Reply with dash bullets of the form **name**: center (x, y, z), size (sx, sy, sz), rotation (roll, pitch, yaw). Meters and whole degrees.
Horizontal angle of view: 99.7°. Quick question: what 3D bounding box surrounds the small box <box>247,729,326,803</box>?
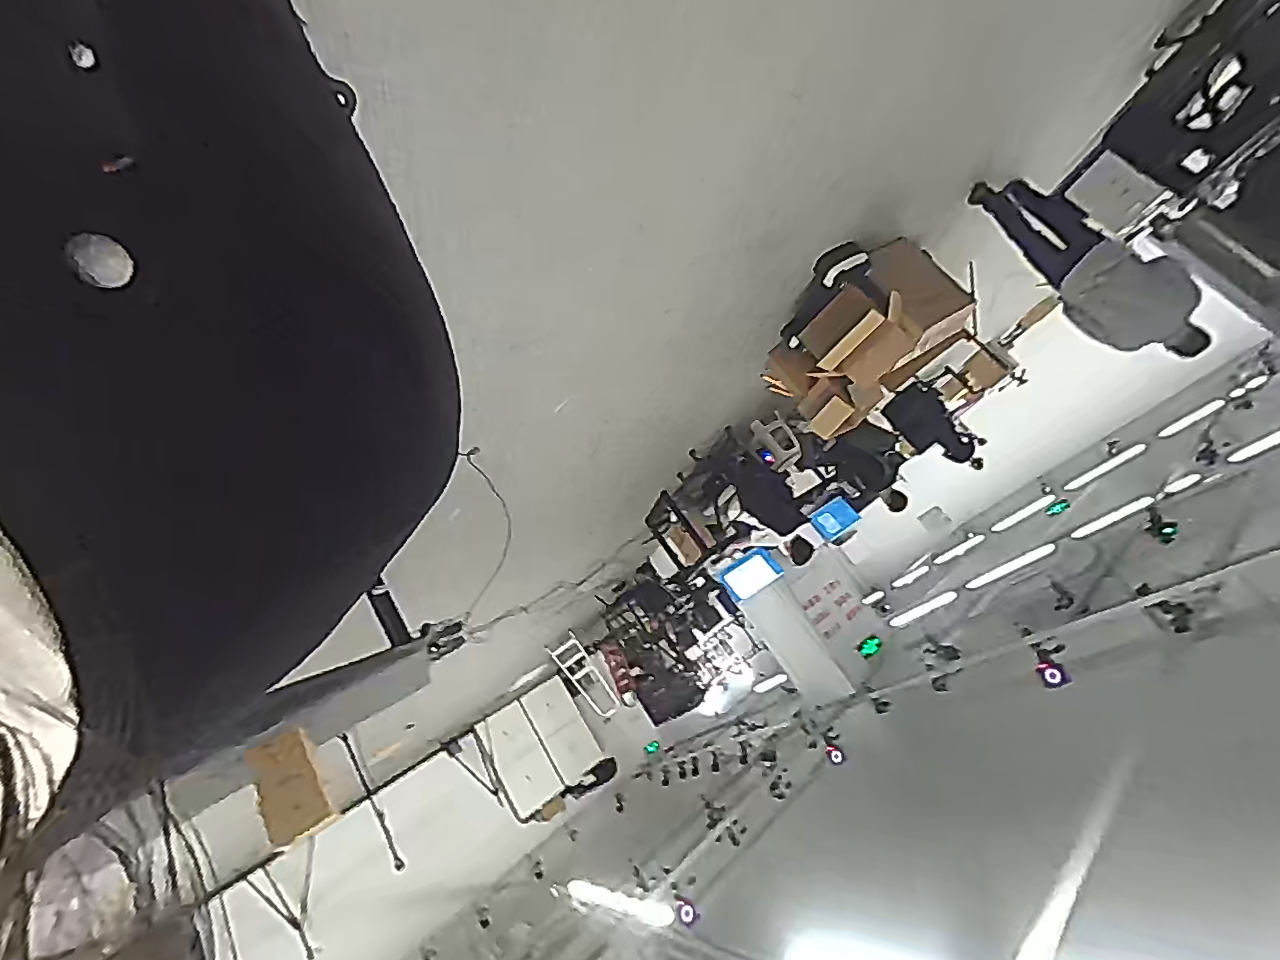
- **small box**: center (-1.228, 0.995, 1.880), size (0.168, 0.176, 0.179), rotation (-26, 159, -31)

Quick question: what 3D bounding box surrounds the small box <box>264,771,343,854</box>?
- **small box**: center (-1.139, 1.122, 1.825), size (0.179, 0.176, 0.168), rotation (-26, 160, -32)
